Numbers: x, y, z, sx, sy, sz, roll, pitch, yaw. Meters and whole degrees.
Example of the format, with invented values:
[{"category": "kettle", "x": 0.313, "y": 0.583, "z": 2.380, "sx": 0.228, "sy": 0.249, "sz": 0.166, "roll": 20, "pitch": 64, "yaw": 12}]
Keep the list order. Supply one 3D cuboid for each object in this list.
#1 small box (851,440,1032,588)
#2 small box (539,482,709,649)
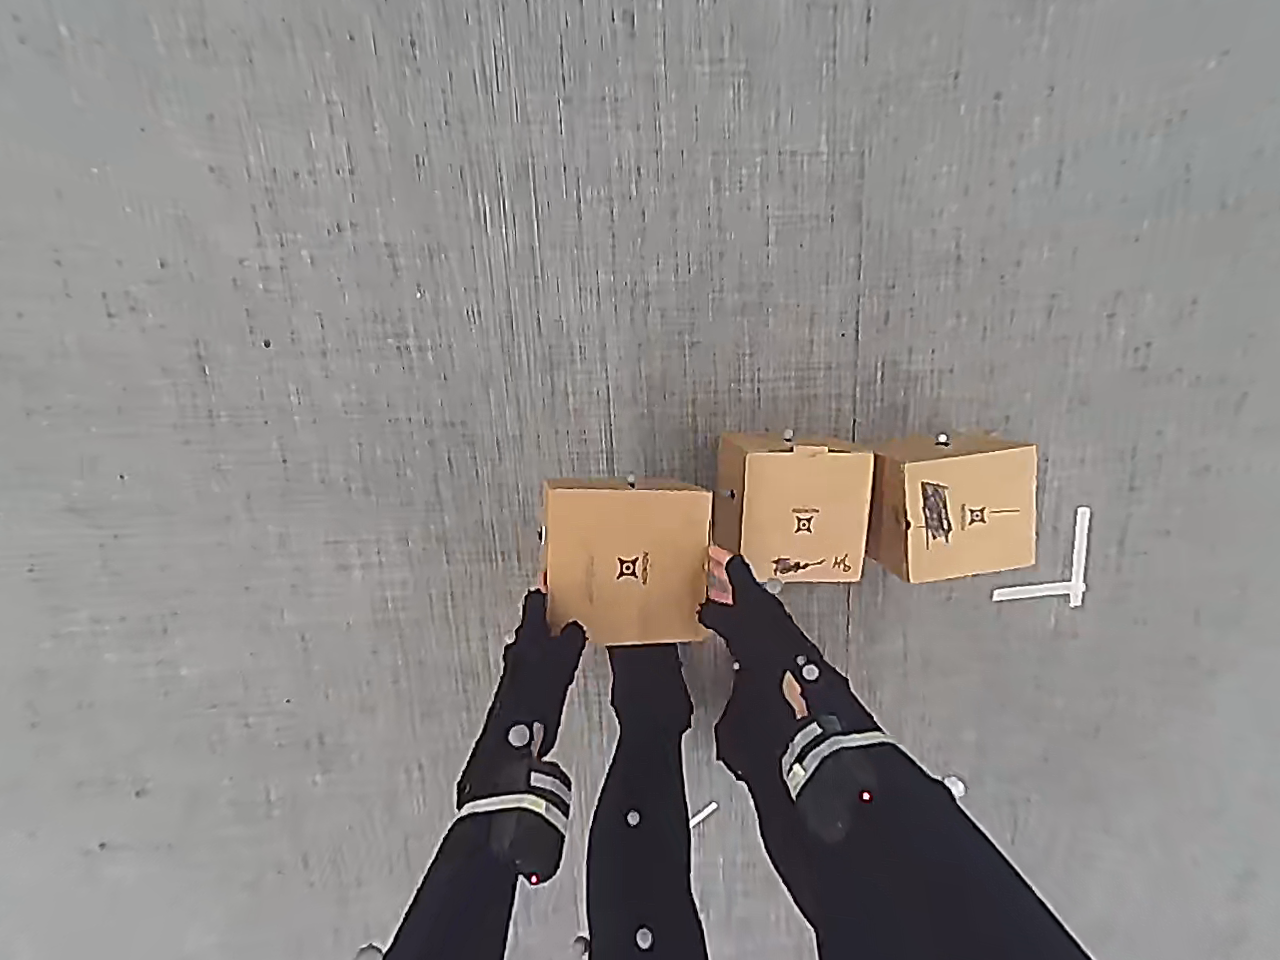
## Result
[{"category": "small box", "x": 0.417, "y": 0.040, "z": 0.777, "sx": 0.179, "sy": 0.176, "sz": 0.168, "roll": -8, "pitch": 101, "yaw": -2}, {"category": "small box", "x": -0.029, "y": 0.089, "z": 0.649, "sx": 0.179, "sy": 0.176, "sz": 0.168, "roll": 0, "pitch": 93, "yaw": -12}]
